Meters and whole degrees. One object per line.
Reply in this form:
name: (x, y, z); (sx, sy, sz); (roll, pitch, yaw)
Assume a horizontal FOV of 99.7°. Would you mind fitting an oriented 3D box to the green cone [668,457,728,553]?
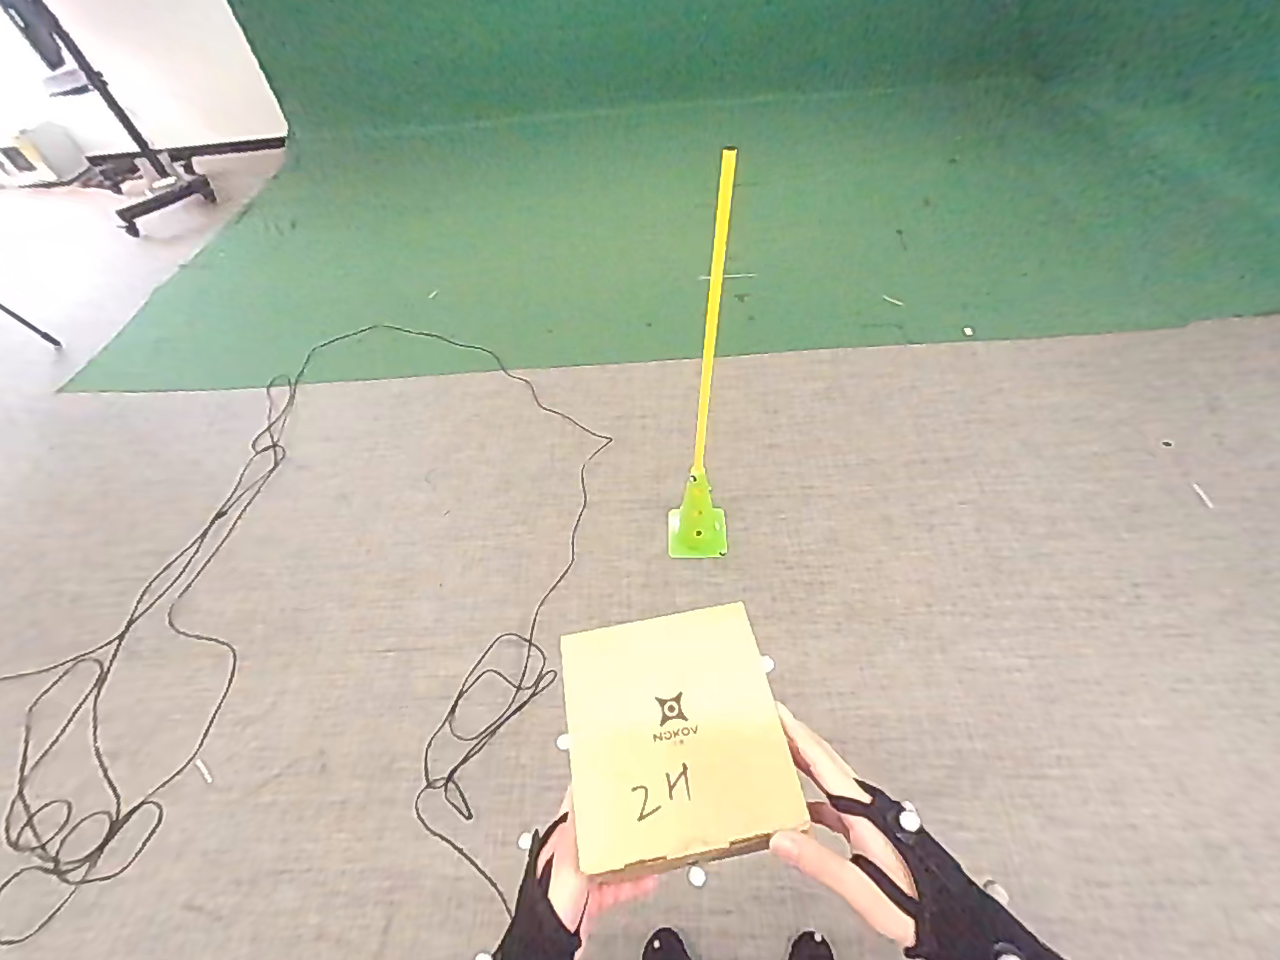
green cone: (0.182, 0.055, 1.736); (0.202, 0.368, 0.200); (-3, 51, 5)
